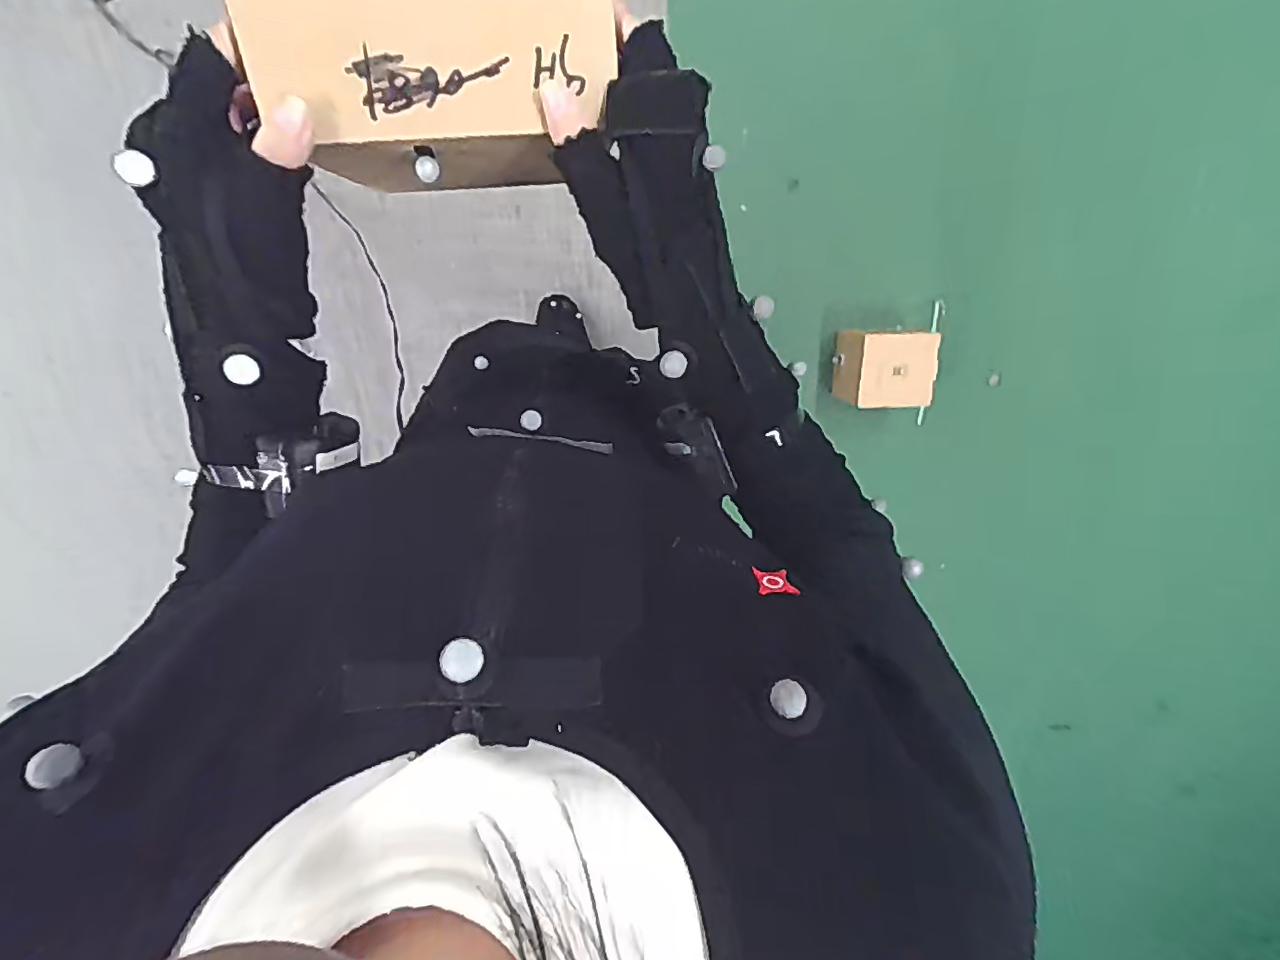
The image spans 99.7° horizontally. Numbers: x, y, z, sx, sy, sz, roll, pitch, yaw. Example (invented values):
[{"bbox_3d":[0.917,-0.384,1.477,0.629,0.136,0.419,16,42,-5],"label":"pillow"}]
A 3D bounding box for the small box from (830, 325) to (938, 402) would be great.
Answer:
[{"bbox_3d":[0.581,-0.286,1.308,0.179,0.176,0.168,-1,109,-1],"label":"small box"}]

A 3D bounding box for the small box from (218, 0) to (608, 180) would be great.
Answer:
[{"bbox_3d":[-0.114,-0.281,0.297,0.168,0.176,0.179,-7,112,-7],"label":"small box"}]
